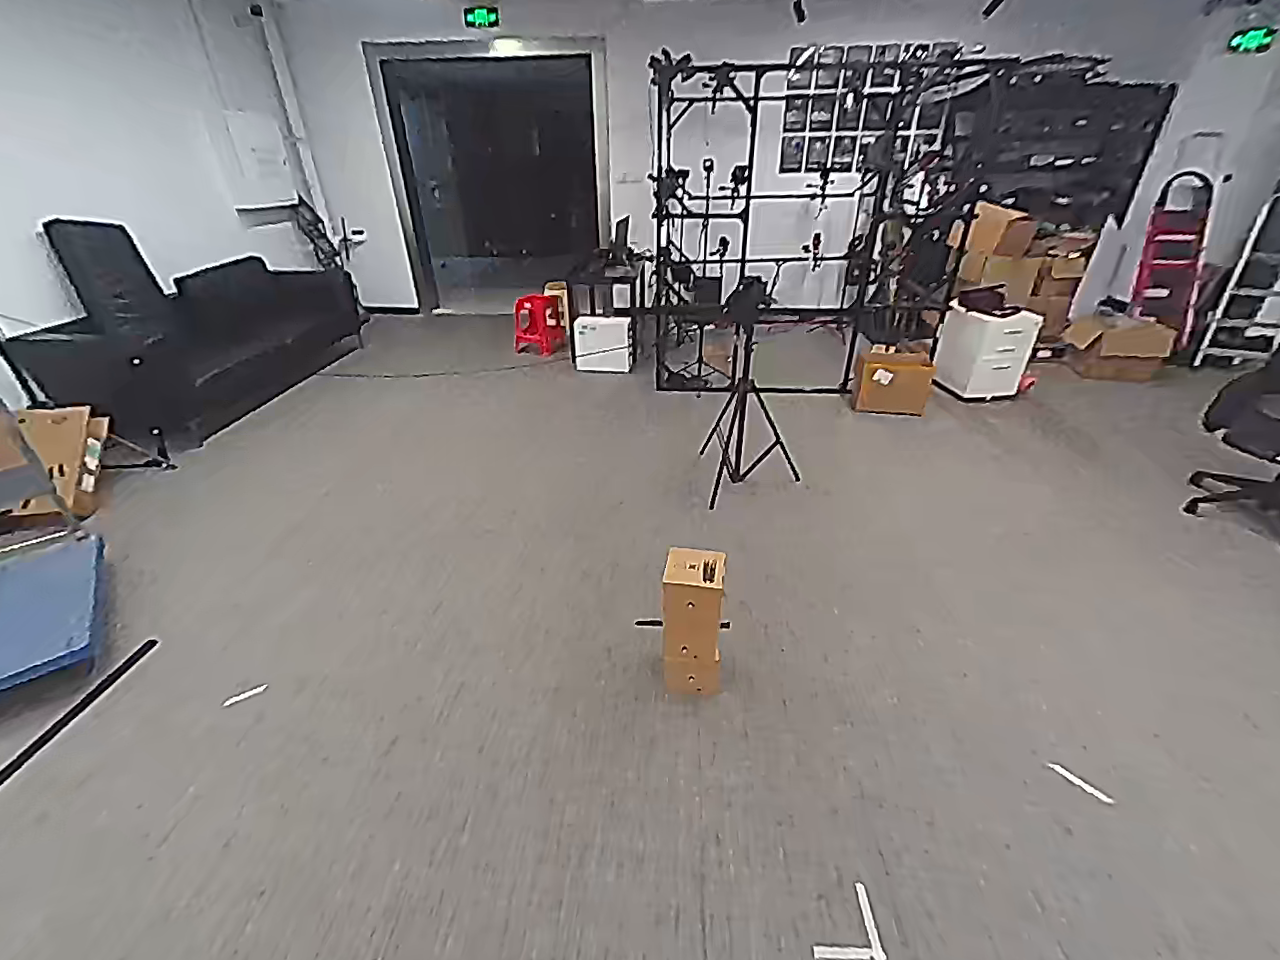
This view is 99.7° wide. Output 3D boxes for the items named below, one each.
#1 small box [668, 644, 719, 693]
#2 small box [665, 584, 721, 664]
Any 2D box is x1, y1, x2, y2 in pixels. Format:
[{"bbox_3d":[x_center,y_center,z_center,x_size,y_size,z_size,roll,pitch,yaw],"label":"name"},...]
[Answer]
[{"bbox_3d":[0.180,0.603,1.838,0.168,0.176,0.179,1,30,2],"label":"small box"},{"bbox_3d":[0.172,0.465,1.752,0.168,0.176,0.179,4,32,8],"label":"small box"}]
